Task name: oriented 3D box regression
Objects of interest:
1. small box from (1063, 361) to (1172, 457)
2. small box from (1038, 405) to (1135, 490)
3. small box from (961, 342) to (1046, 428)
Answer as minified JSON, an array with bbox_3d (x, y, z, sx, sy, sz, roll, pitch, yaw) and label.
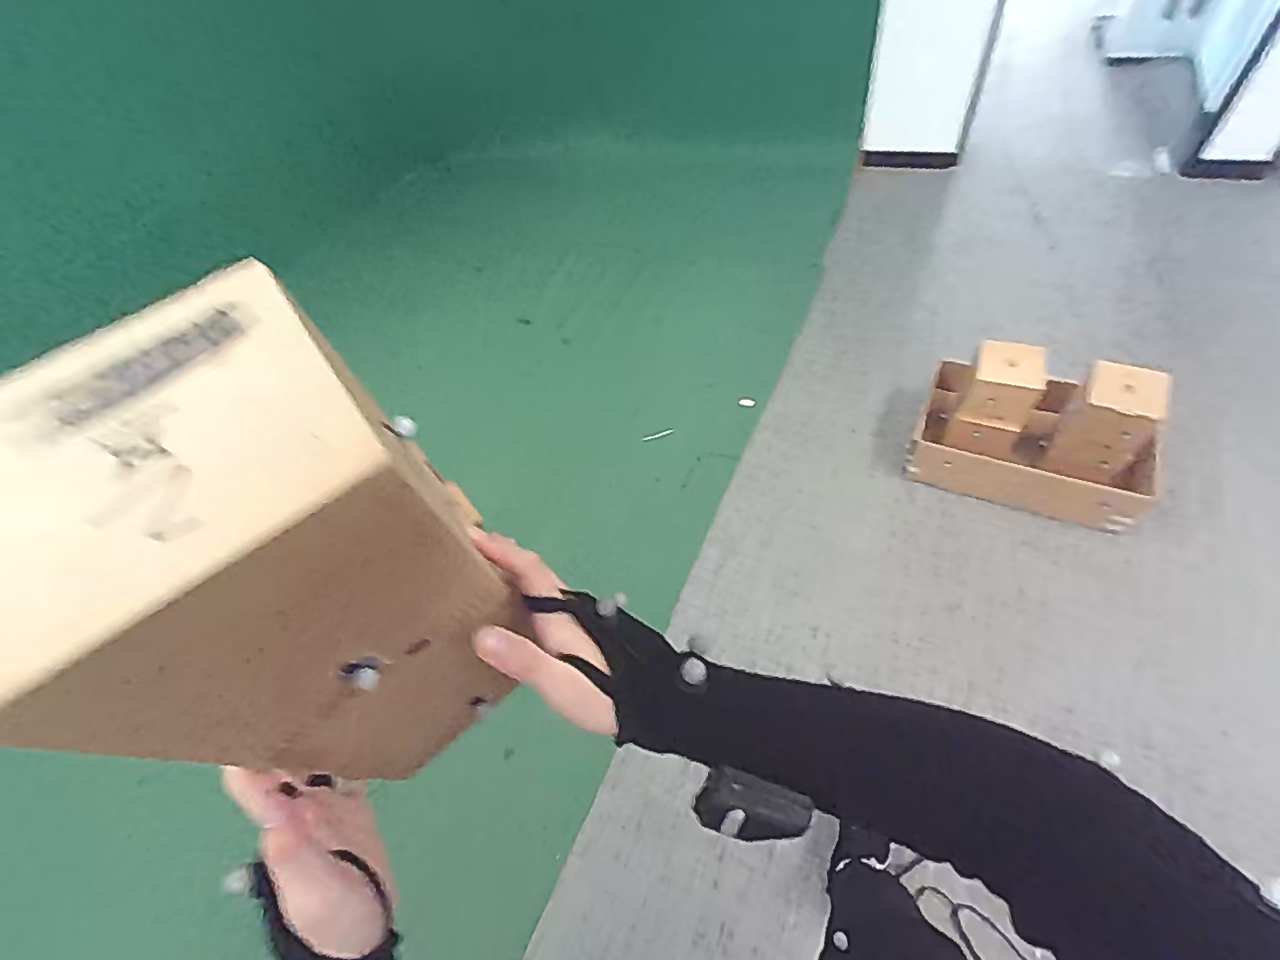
[{"bbox_3d":[1.302,-0.191,1.485,0.168,0.176,0.179,22,62,24],"label":"small box"},{"bbox_3d":[1.332,-0.094,1.611,0.179,0.176,0.168,20,61,25],"label":"small box"},{"bbox_3d":[1.070,-0.280,1.601,0.168,0.176,0.179,14,59,21],"label":"small box"}]
